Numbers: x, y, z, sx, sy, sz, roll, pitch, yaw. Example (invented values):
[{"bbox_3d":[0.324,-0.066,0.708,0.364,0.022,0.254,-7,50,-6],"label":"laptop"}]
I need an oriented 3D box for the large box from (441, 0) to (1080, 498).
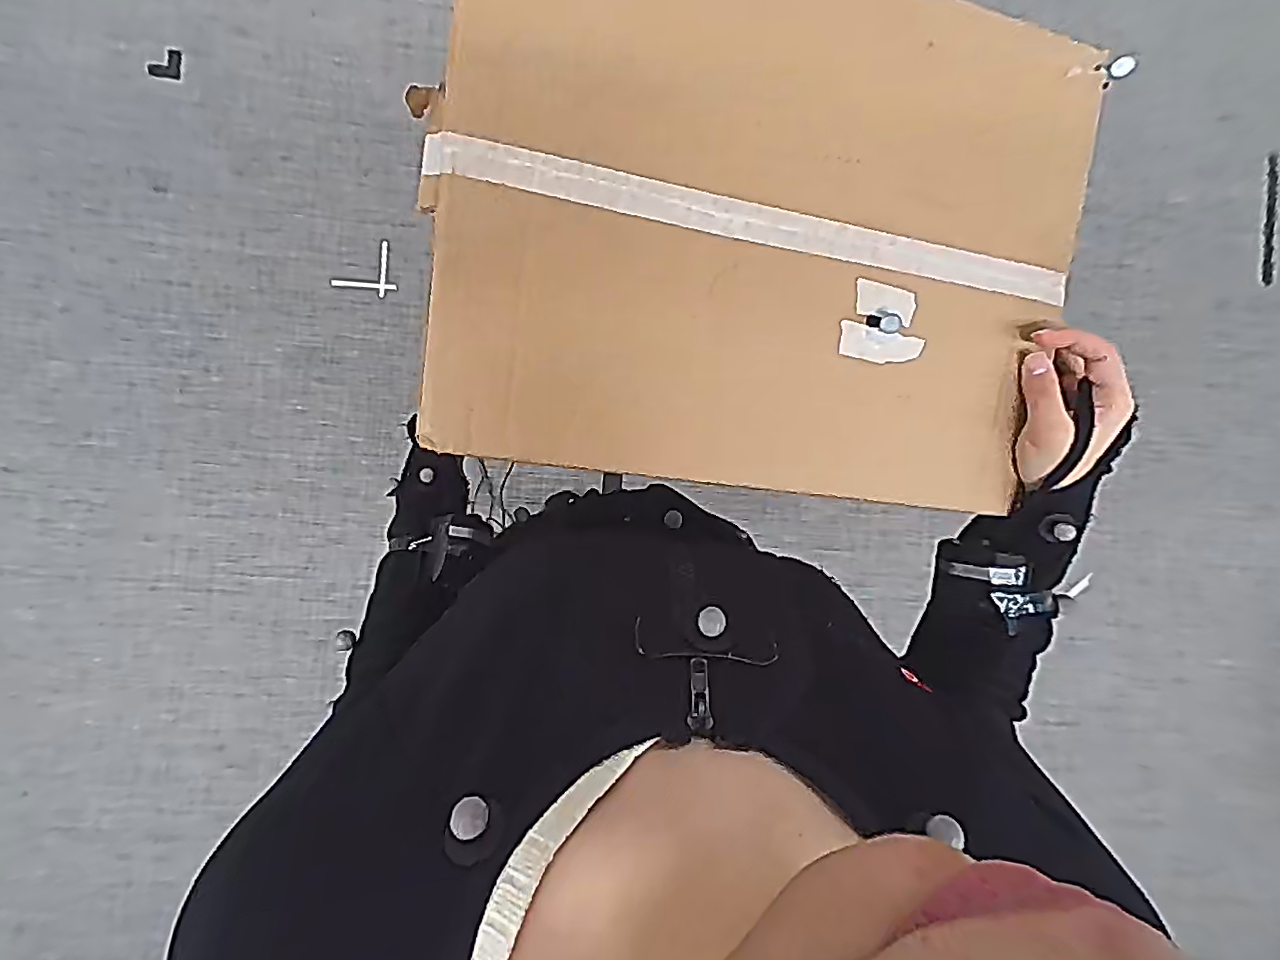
[{"bbox_3d":[0.059,-0.171,0.480,0.408,0.320,0.320,6,96,-14],"label":"large box"}]
